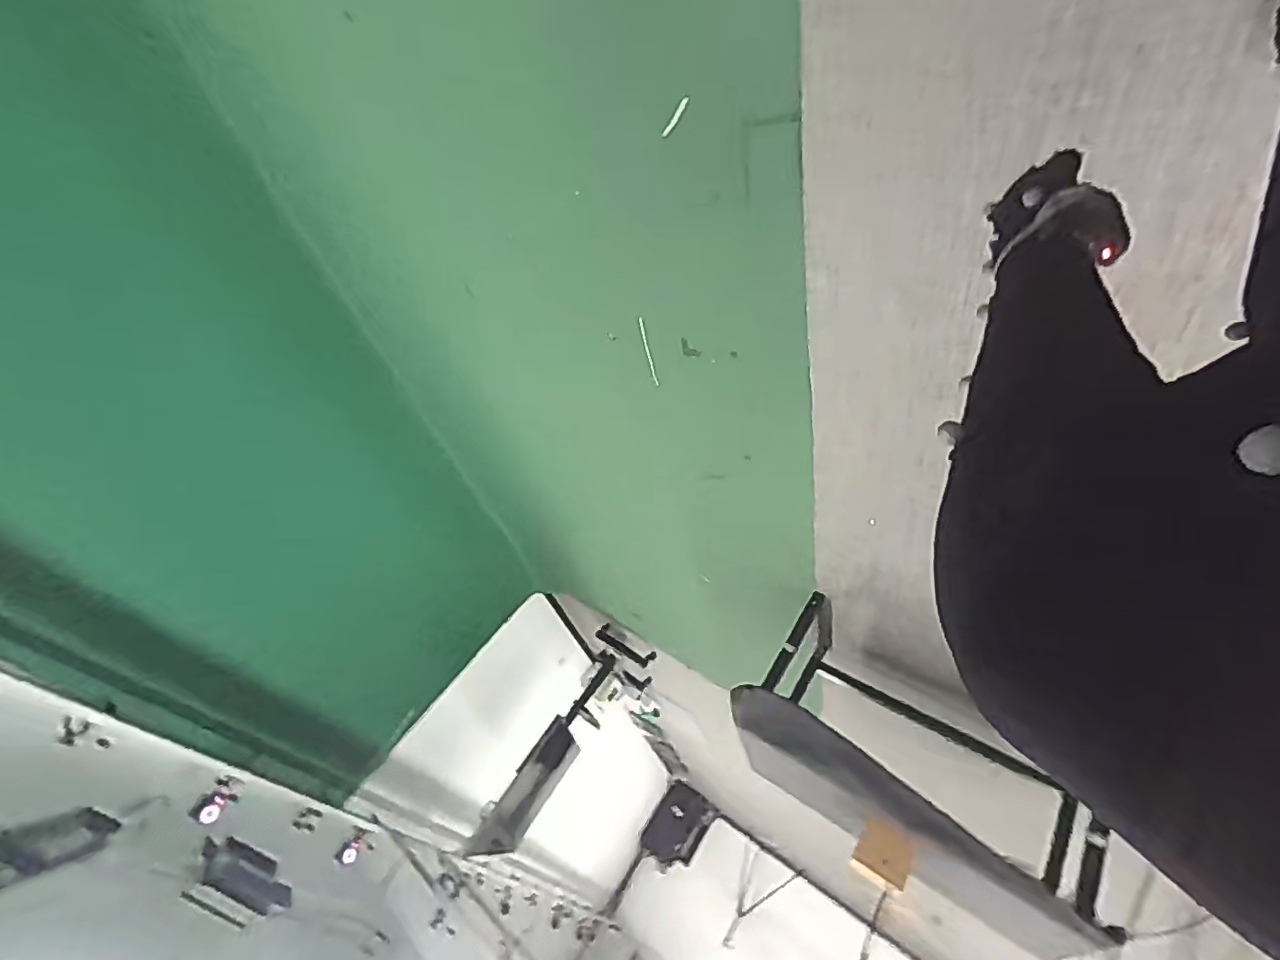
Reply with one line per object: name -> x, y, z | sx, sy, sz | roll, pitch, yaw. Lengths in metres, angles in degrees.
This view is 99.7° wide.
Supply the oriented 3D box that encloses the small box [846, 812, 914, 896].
small box -> 0.859, 1.334, 1.934 | 0.179, 0.176, 0.168 | 21, 146, 34
